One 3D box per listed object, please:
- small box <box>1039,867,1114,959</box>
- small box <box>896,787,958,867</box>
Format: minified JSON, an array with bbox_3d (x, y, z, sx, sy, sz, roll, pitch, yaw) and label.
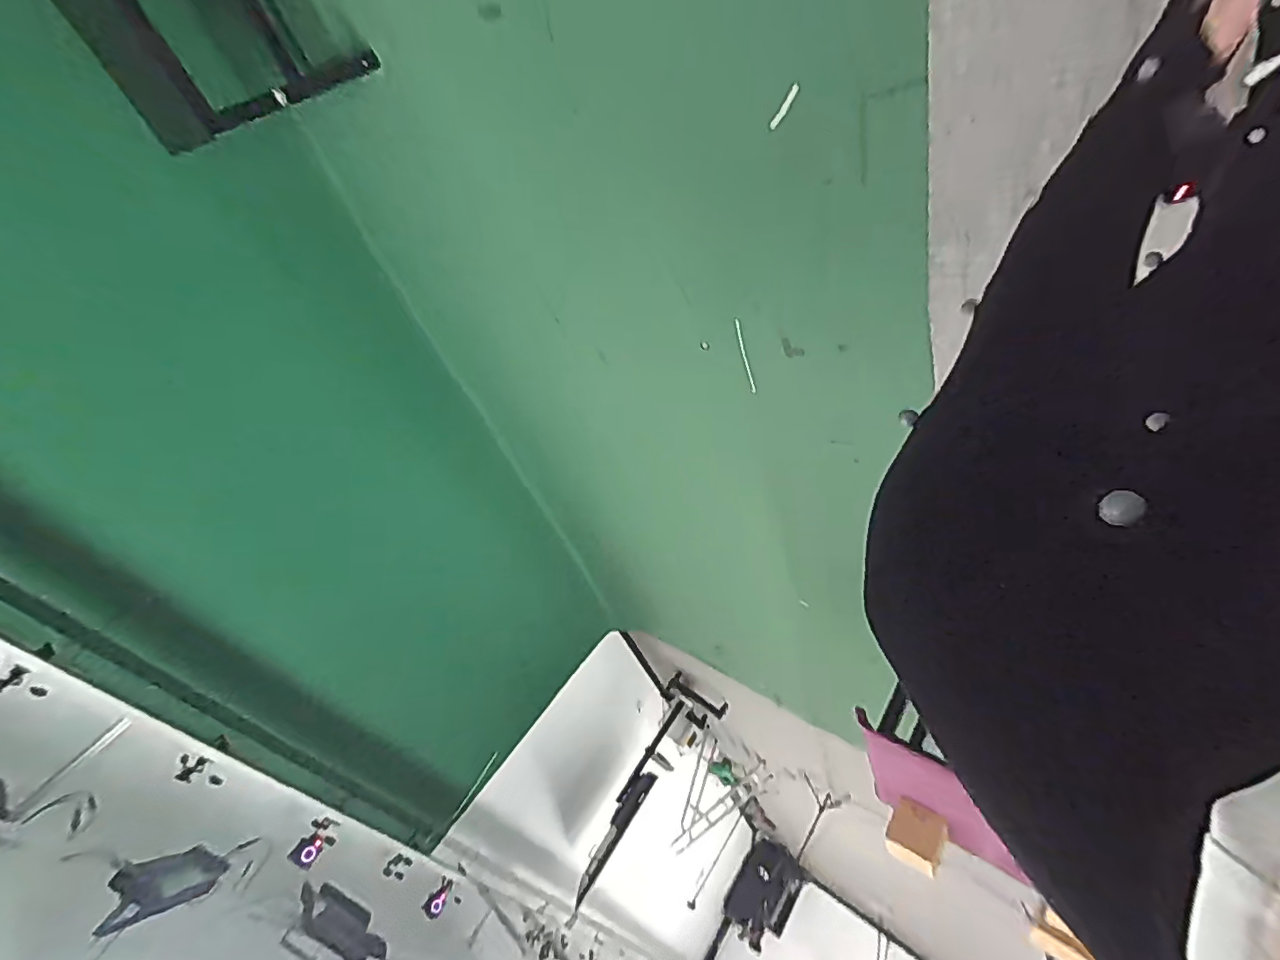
[{"bbox_3d":[1.416,1.398,1.739,0.168,0.176,0.179,18,144,41],"label":"small box"},{"bbox_3d":[1.092,1.308,2.047,0.168,0.176,0.179,12,141,42],"label":"small box"}]
